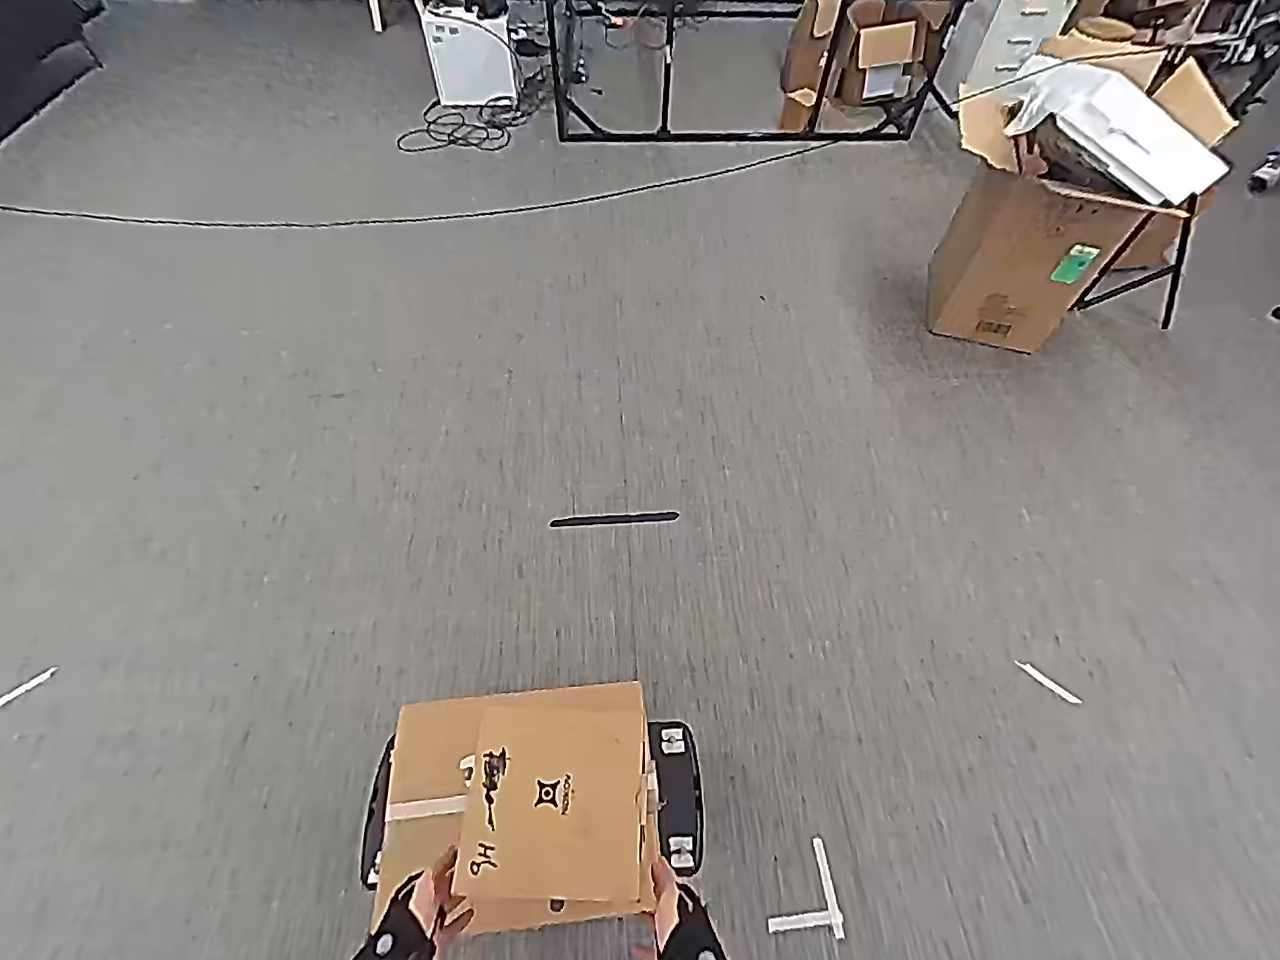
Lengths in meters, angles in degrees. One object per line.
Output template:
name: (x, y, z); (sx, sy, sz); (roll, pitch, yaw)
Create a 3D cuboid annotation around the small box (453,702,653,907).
small box: (-0.081, 0.354, 0.593); (0.179, 0.176, 0.168); (3, 54, 0)

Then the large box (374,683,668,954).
large box: (-0.175, 0.569, 0.939); (0.408, 0.320, 0.320); (-5, 55, -3)
